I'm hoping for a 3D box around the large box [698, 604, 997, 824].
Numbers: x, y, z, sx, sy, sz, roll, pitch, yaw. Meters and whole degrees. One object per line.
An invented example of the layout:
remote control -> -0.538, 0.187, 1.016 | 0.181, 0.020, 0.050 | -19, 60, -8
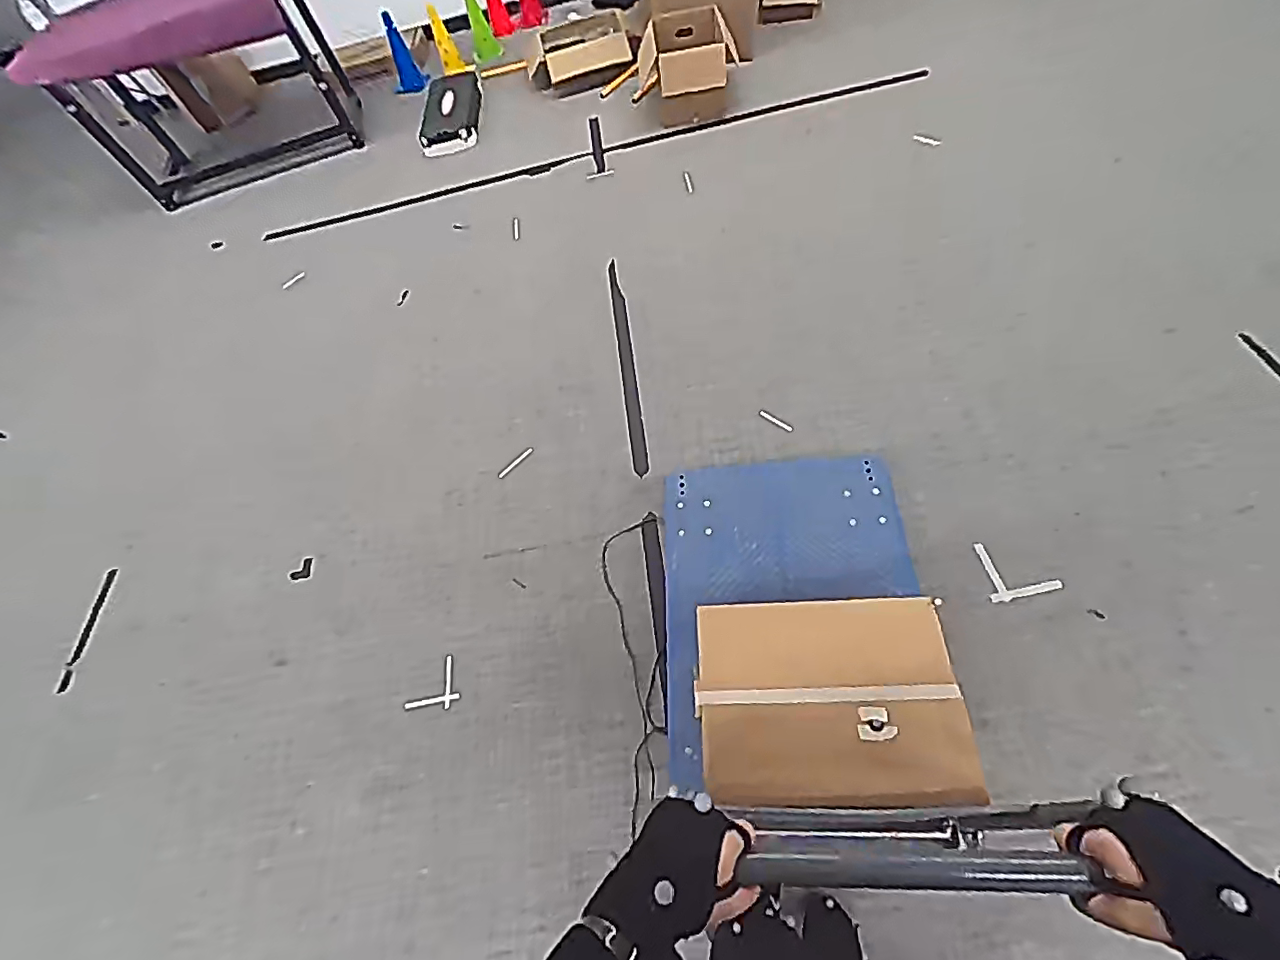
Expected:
large box -> 0.321, 0.433, 0.975 | 0.408, 0.320, 0.320 | -4, 58, 7
